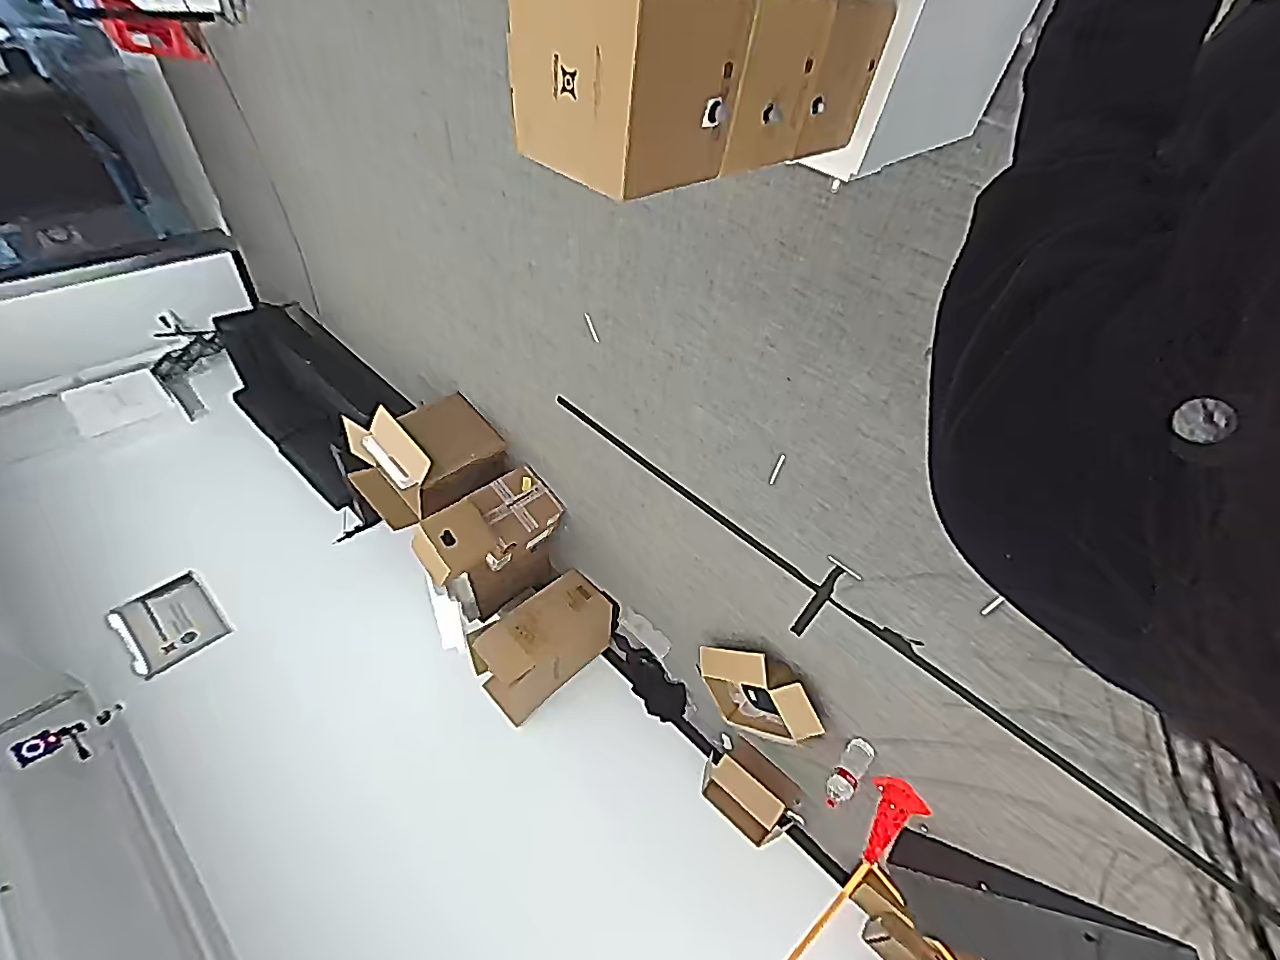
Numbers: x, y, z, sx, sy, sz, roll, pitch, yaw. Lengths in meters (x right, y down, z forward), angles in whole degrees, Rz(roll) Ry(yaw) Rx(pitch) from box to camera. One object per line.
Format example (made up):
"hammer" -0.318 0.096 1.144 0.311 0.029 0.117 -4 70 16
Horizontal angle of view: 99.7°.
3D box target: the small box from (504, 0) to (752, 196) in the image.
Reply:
"small box" -0.017 -0.417 0.552 0.179 0.176 0.168 37 143 24

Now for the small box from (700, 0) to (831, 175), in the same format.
"small box" 0.094 -0.492 0.644 0.179 0.176 0.168 38 142 24

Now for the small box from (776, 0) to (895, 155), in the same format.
"small box" 0.203 -0.570 0.736 0.179 0.176 0.168 39 144 24
